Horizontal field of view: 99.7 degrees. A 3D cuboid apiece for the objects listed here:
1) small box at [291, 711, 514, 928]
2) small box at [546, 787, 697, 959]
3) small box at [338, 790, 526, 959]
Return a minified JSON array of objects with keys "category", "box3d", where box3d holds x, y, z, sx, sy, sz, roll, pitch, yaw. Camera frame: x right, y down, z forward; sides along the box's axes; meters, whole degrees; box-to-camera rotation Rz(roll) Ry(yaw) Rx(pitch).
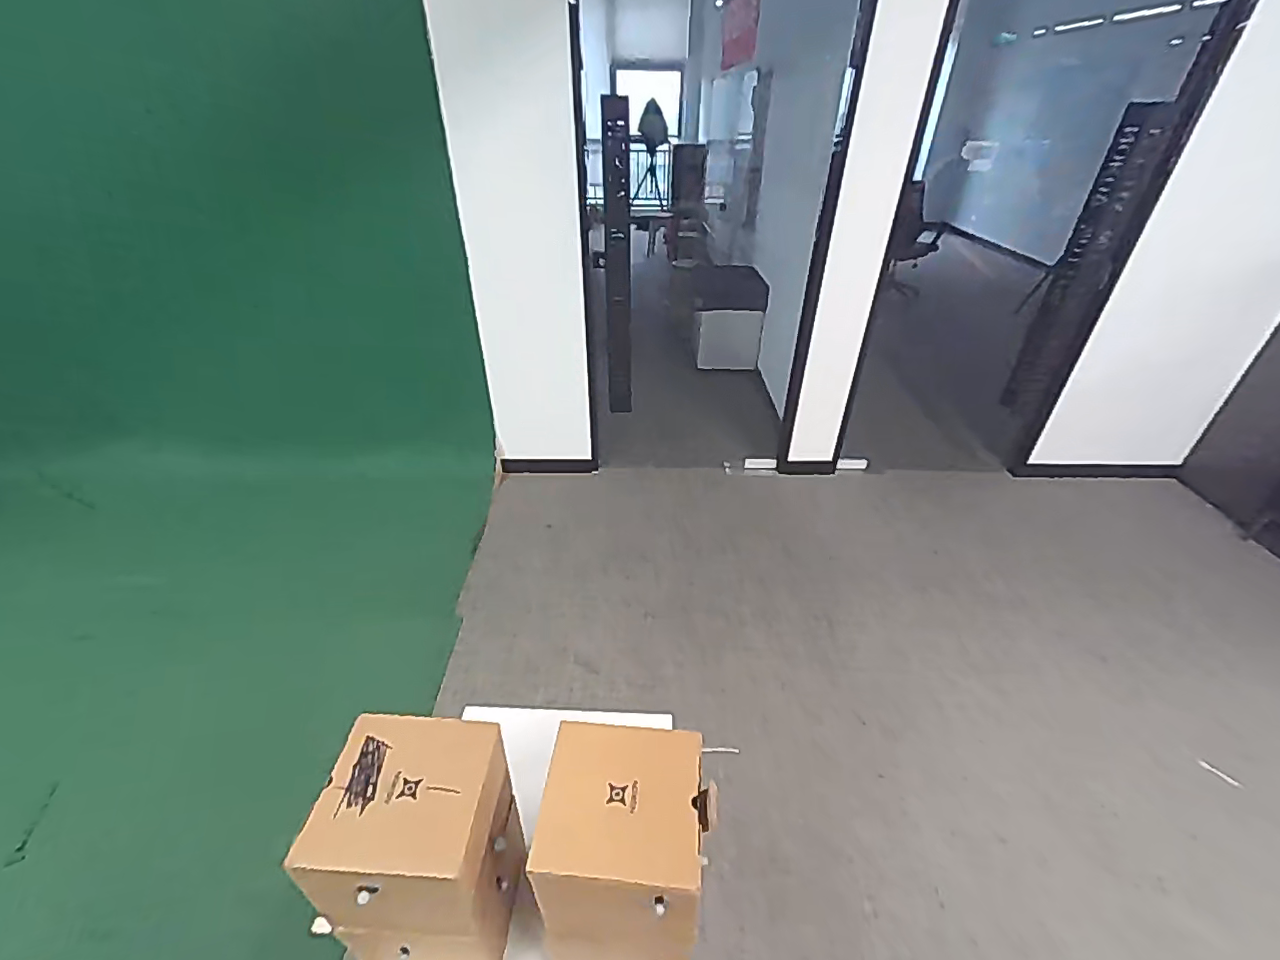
[{"category":"small box","box3d":[-0.259,0.400,0.640,0.179,0.176,0.168,4,35,1]},{"category":"small box","box3d":[-0.017,0.545,0.730,0.179,0.176,0.168,1,35,4]},{"category":"small box","box3d":[-0.262,0.538,0.732,0.179,0.176,0.168,4,36,1]}]
